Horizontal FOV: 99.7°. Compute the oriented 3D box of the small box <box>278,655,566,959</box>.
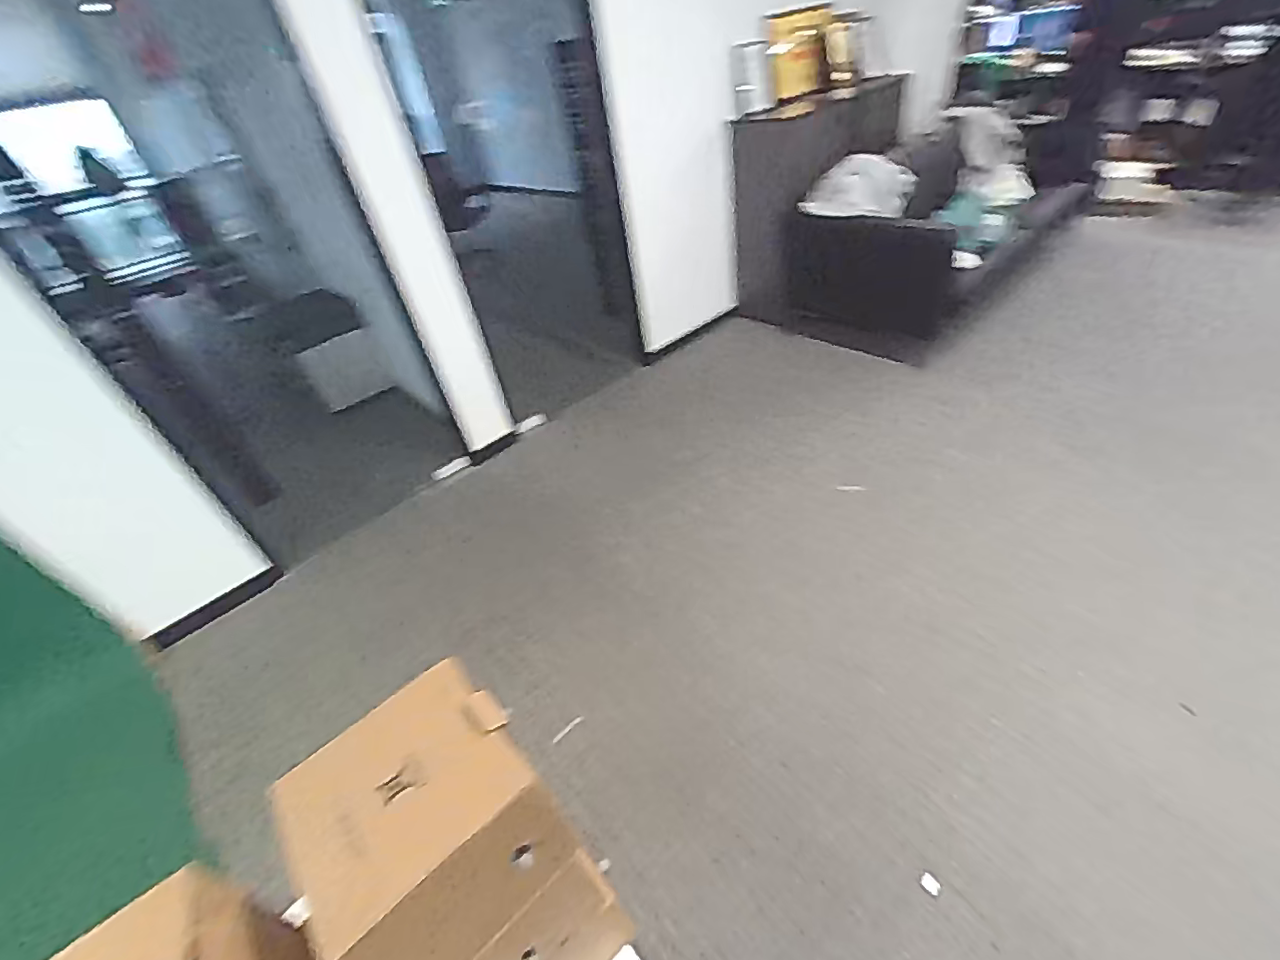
[{"bbox_3d":[-0.187,0.310,0.505,0.179,0.176,0.168,-35,45,-25],"label":"small box"}]

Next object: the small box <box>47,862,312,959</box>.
[{"bbox_3d":[-0.359,0.439,0.389,0.179,0.176,0.168,-32,43,-26],"label":"small box"}]

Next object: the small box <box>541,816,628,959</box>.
[{"bbox_3d":[-0.137,0.562,0.710,0.179,0.176,0.168,-33,45,-25],"label":"small box"}]

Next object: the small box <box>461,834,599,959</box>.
[{"bbox_3d":[-0.168,0.438,0.605,0.168,0.176,0.179,-35,45,-27],"label":"small box"}]
